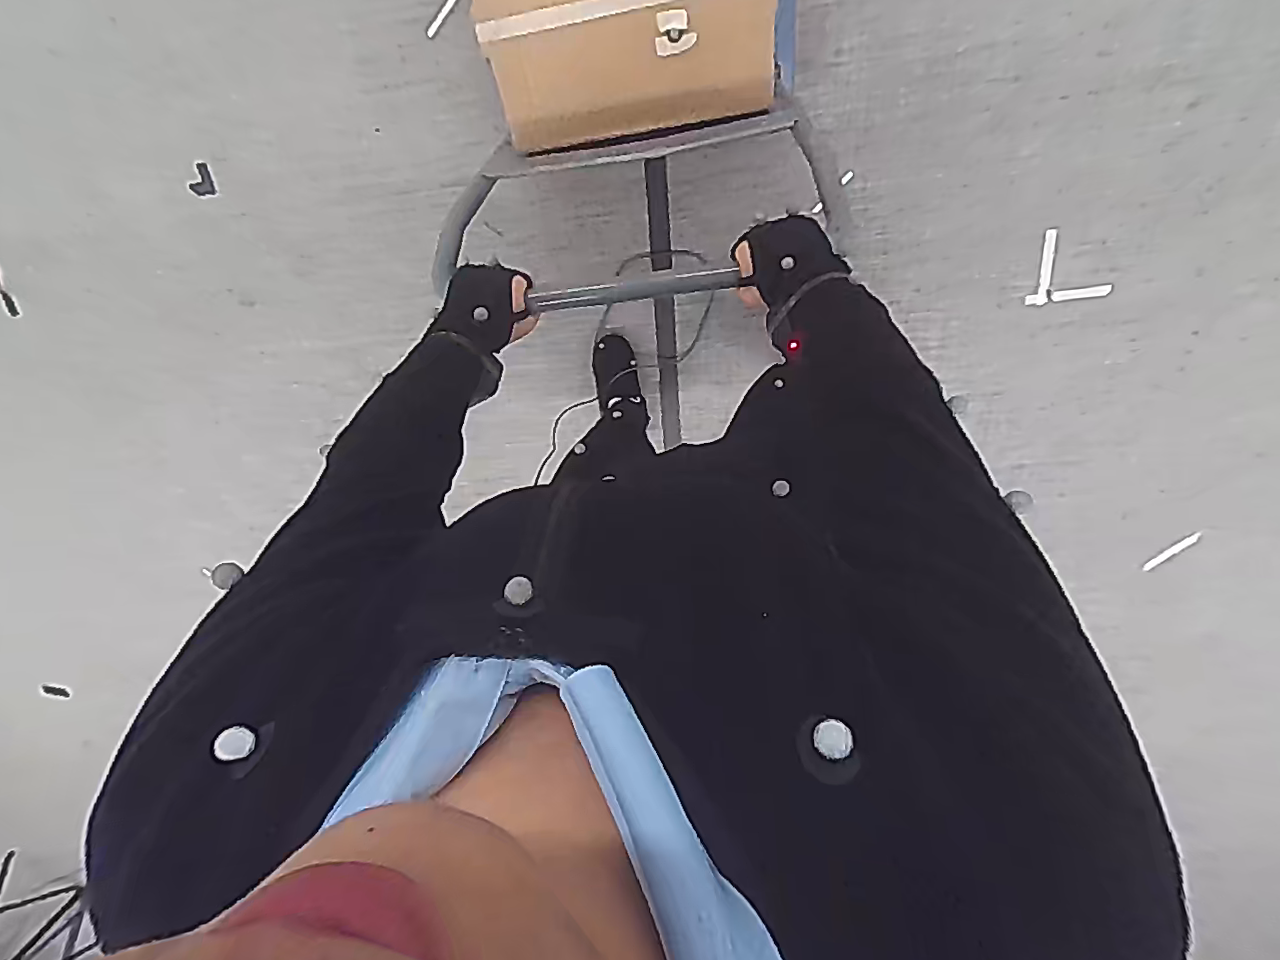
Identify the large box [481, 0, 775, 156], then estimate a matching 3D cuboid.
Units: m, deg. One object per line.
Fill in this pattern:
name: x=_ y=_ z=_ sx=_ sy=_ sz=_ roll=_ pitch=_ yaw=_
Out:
large box: x=-0.015 y=-0.758 z=0.858 sx=0.408 sy=0.320 sz=0.320 roll=-6 pitch=132 yaw=8
